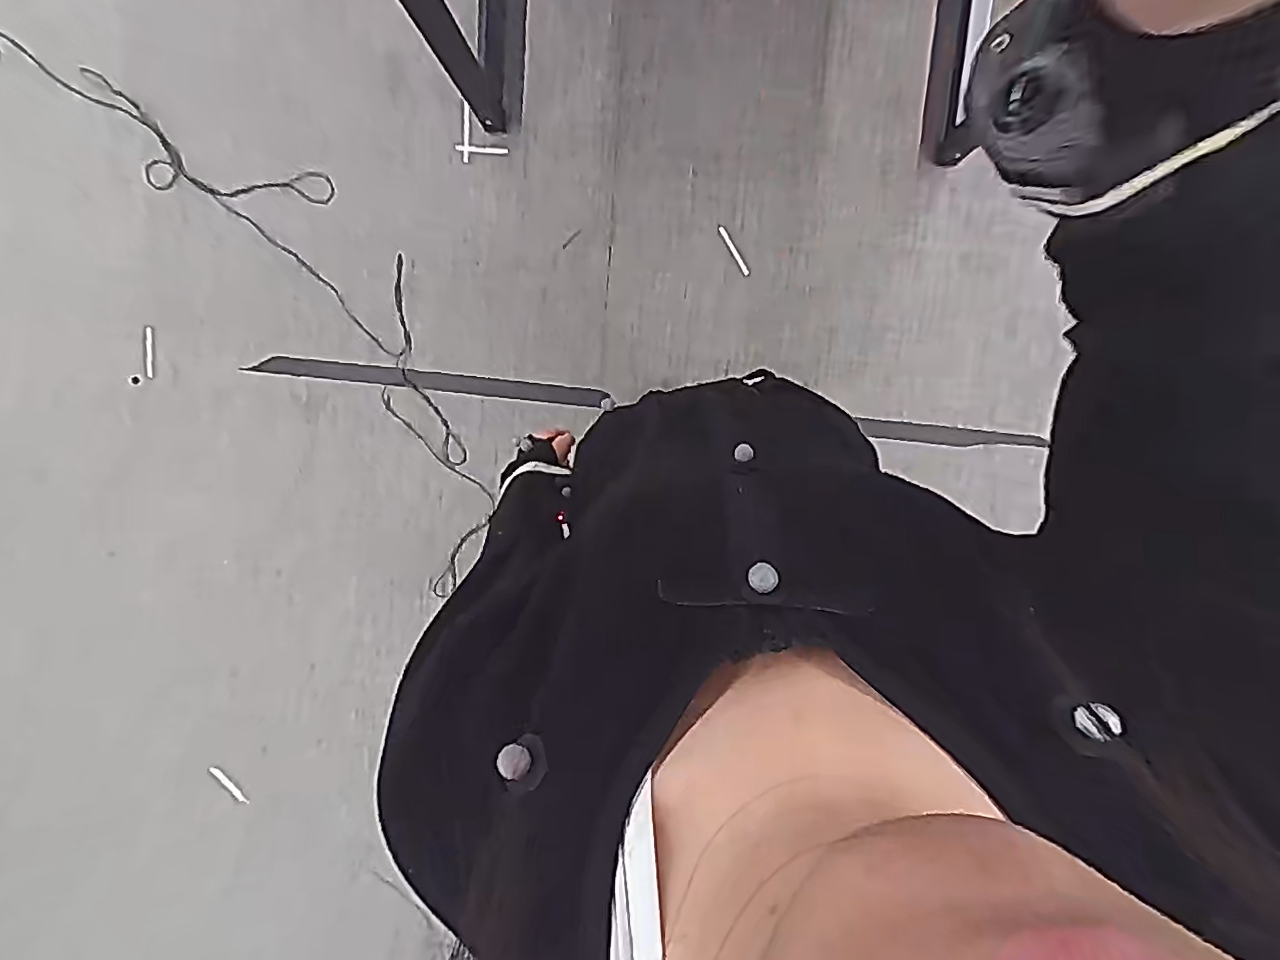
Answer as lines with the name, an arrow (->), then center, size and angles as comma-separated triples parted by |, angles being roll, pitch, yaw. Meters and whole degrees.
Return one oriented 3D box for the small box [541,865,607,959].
small box -> -0.185, 1.258, 1.555 | 0.168, 0.176, 0.179 | -1, 98, 2
